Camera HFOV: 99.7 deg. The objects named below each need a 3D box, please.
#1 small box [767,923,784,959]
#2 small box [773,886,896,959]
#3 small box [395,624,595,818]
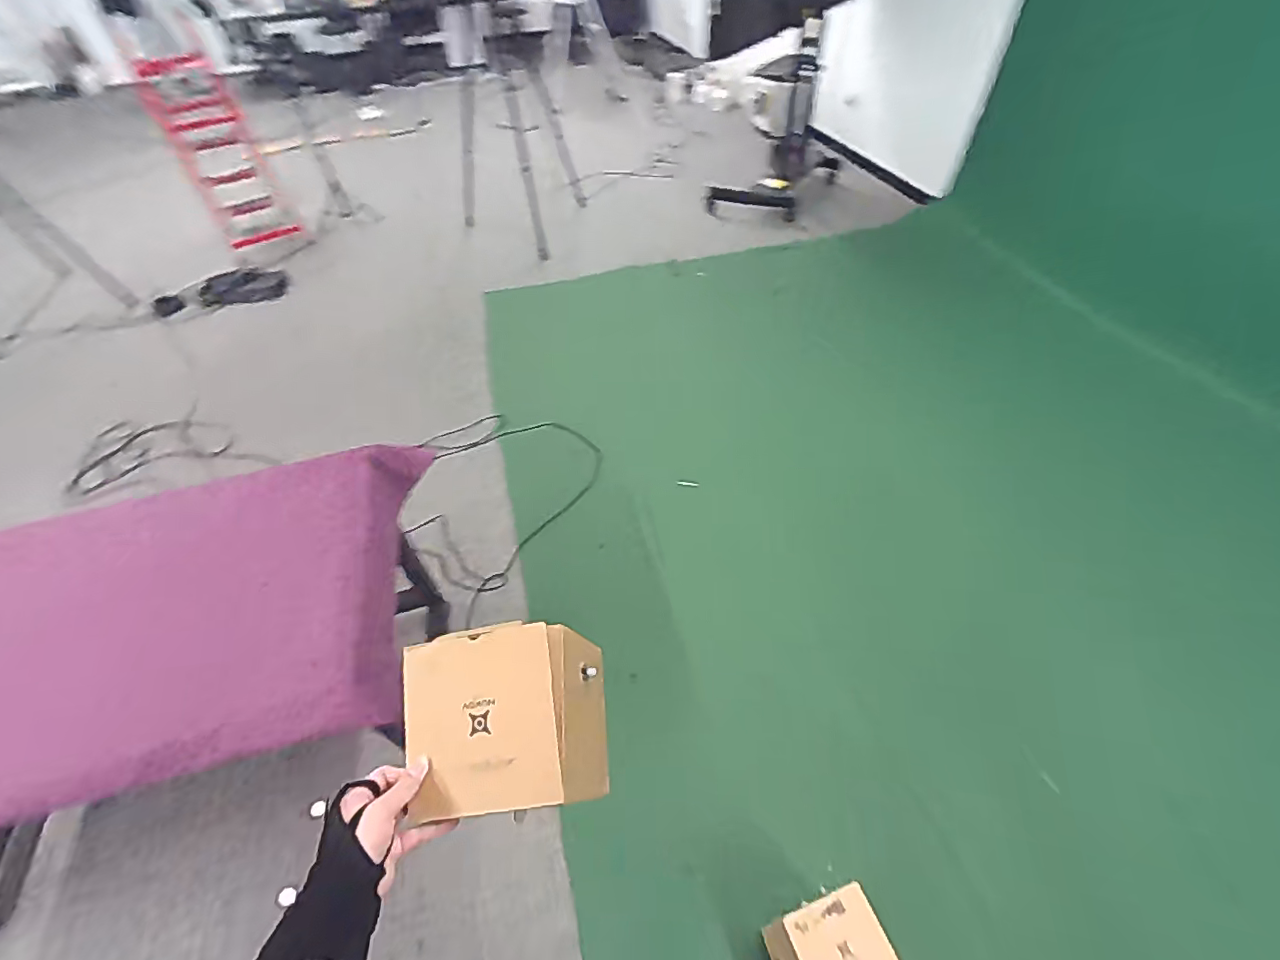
[{"bbox_3d":[0.377,1.010,1.133,0.179,0.176,0.168,-14,49,-8],"label":"small box"},{"bbox_3d":[0.369,0.899,1.012,0.168,0.176,0.179,-16,50,-11],"label":"small box"},{"bbox_3d":[-0.156,0.283,0.636,0.168,0.176,0.179,-11,63,9],"label":"small box"}]
